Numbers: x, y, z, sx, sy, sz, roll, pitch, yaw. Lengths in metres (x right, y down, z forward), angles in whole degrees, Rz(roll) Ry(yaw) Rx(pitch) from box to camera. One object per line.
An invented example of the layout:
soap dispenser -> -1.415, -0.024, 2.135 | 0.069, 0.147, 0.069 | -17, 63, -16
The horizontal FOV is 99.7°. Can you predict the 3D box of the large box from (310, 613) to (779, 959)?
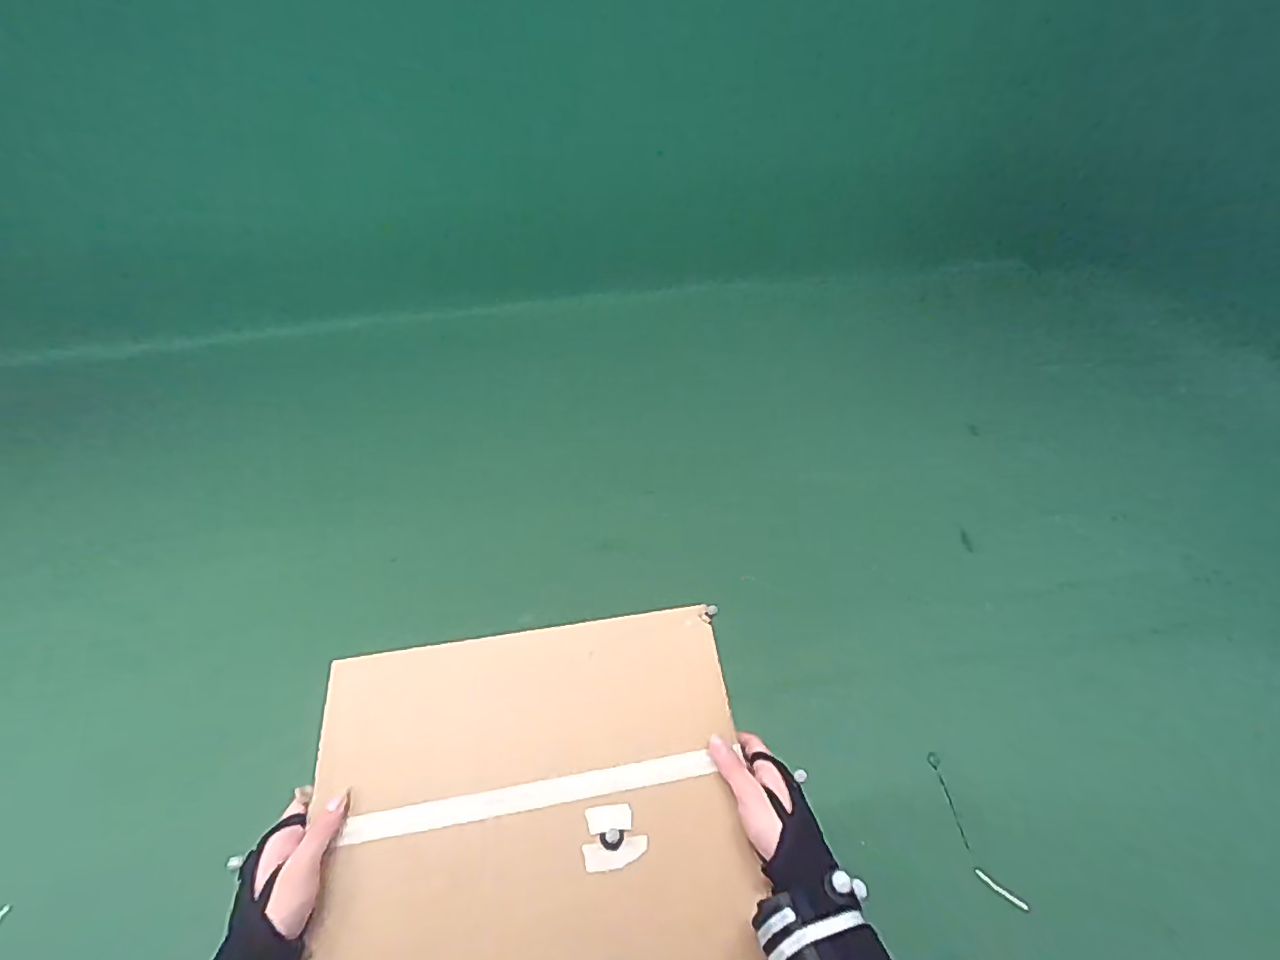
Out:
large box -> -0.105, 0.386, 0.648 | 0.408, 0.320, 0.320 | -6, 59, -8
